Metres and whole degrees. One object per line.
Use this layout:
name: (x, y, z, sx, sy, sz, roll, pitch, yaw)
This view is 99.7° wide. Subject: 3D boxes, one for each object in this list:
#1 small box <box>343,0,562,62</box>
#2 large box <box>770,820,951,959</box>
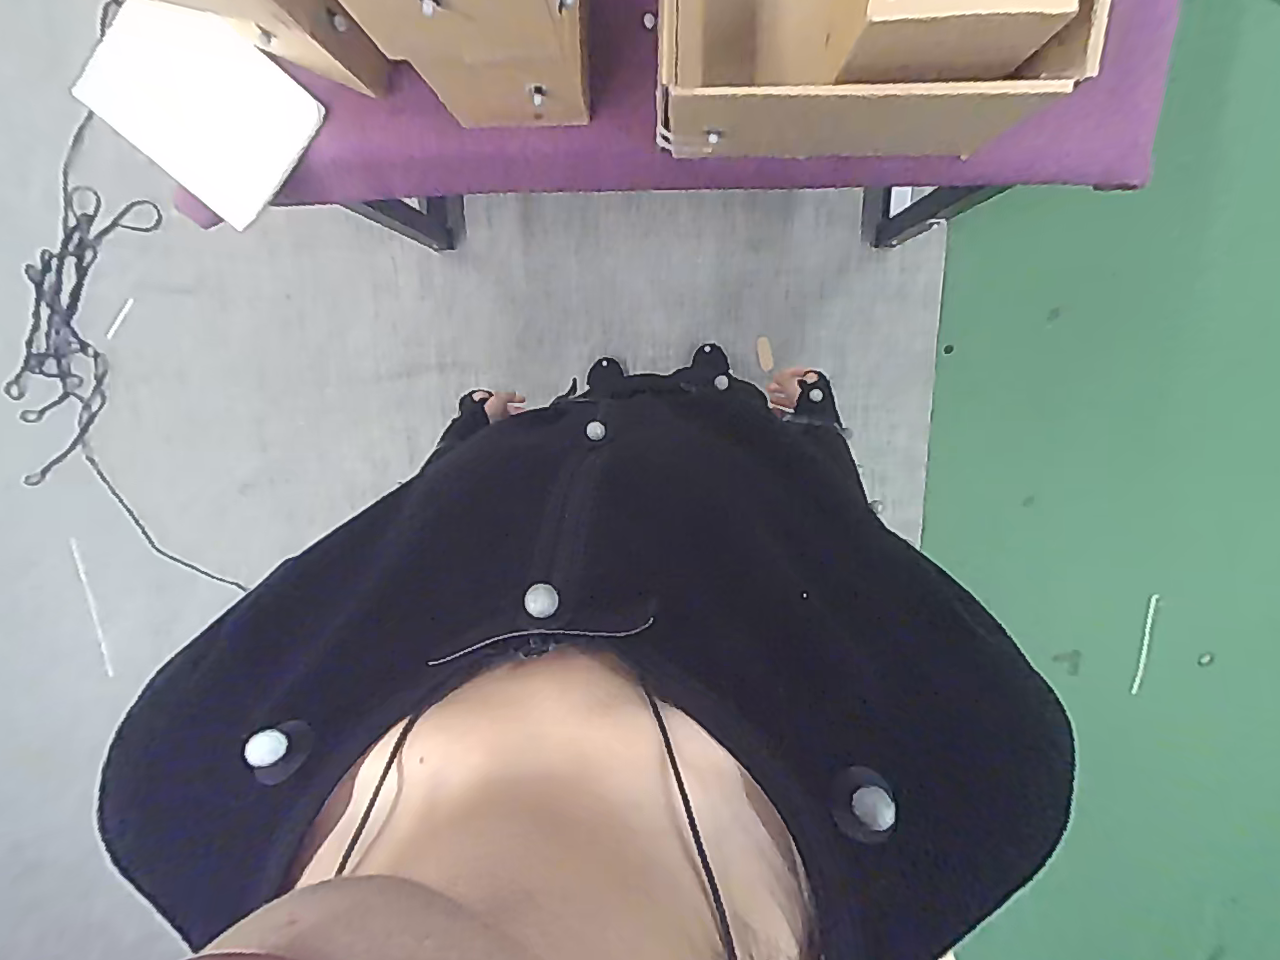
small box: (-0.159, -0.471, 0.432, 0.179, 0.176, 0.168, 1, 101, 2)
large box: (0.645, 1.297, 1.611, 0.408, 0.320, 0.320, -15, 101, 4)
